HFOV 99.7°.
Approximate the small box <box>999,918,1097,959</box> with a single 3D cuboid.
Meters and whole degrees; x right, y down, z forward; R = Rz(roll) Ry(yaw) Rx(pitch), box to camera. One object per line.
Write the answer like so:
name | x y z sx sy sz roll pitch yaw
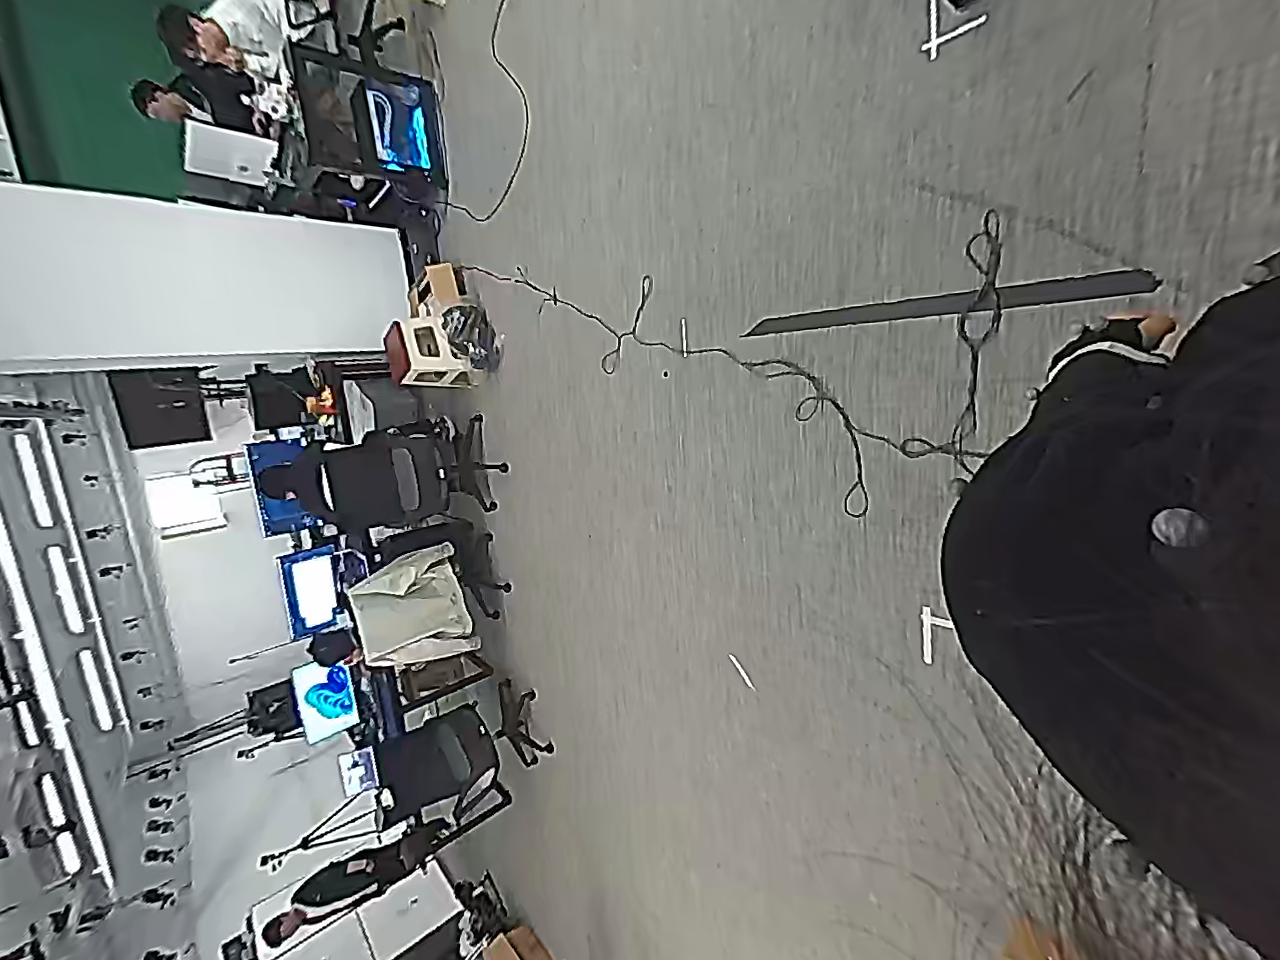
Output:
small box | 1.059 1.302 1.409 0.179 0.176 0.168 8 107 47
